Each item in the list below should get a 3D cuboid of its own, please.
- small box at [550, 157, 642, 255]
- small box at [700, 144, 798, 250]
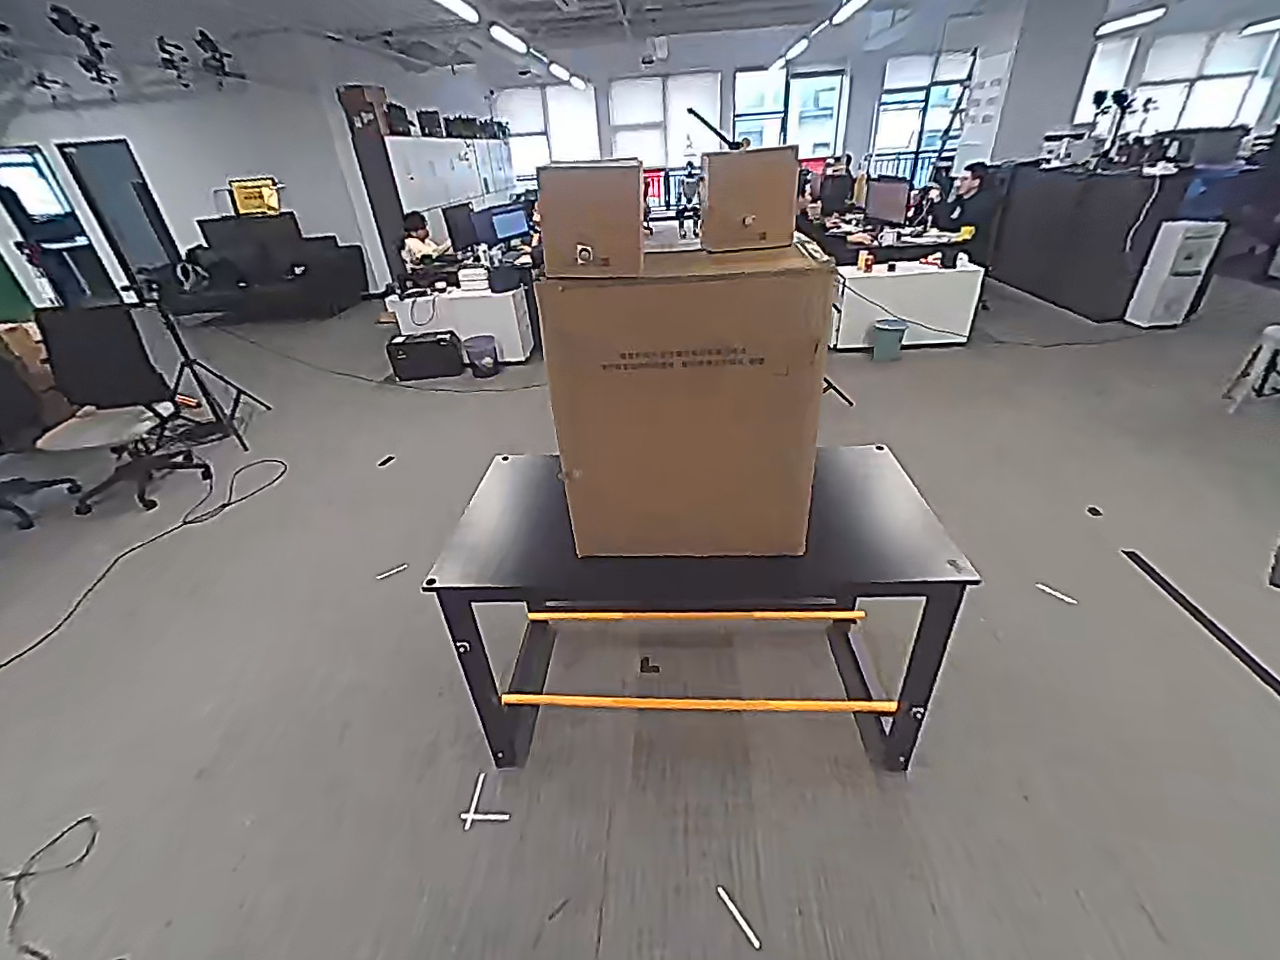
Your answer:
[{"bbox_3d":[-0.084,-0.568,1.123,0.168,0.176,0.179,-2,30,3],"label":"small box"},{"bbox_3d":[0.206,-0.559,1.072,0.168,0.176,0.179,-4,30,3],"label":"small box"}]
